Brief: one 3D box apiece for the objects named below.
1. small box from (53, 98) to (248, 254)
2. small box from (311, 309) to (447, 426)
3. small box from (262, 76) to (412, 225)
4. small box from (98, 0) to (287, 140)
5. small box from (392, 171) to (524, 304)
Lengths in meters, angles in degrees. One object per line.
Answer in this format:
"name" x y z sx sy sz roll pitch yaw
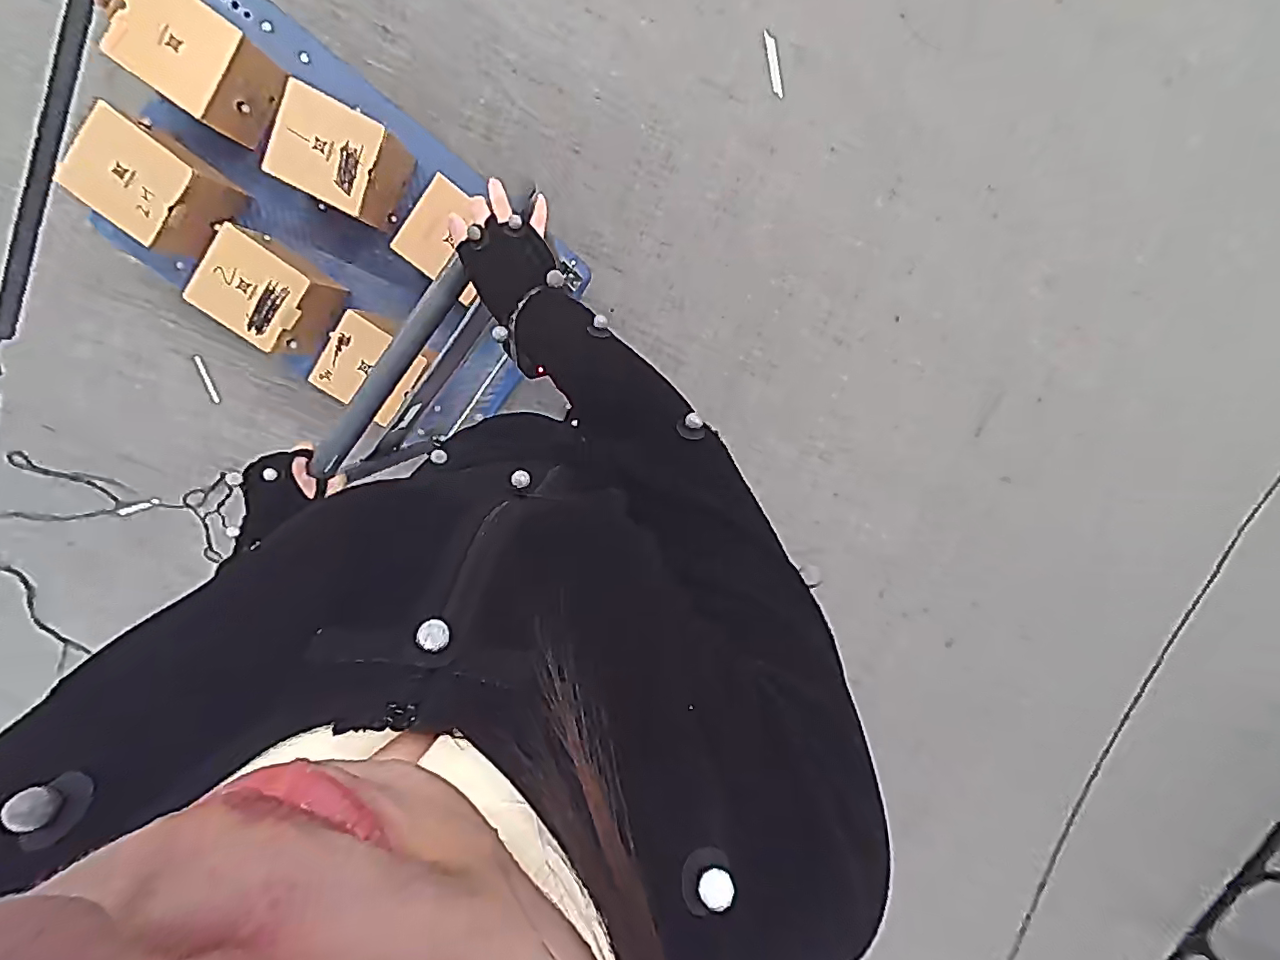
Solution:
"small box" -0.902 -0.552 1.016 0.179 0.176 0.168 38 98 -14
"small box" -0.532 -0.237 1.131 0.179 0.176 0.168 33 98 -13
"small box" -0.565 -0.611 1.034 0.179 0.176 0.168 24 101 -10
"small box" -0.790 -0.755 0.977 0.179 0.176 0.168 33 99 -12
"small box" -0.354 -0.473 1.091 0.179 0.176 0.168 37 97 -12
